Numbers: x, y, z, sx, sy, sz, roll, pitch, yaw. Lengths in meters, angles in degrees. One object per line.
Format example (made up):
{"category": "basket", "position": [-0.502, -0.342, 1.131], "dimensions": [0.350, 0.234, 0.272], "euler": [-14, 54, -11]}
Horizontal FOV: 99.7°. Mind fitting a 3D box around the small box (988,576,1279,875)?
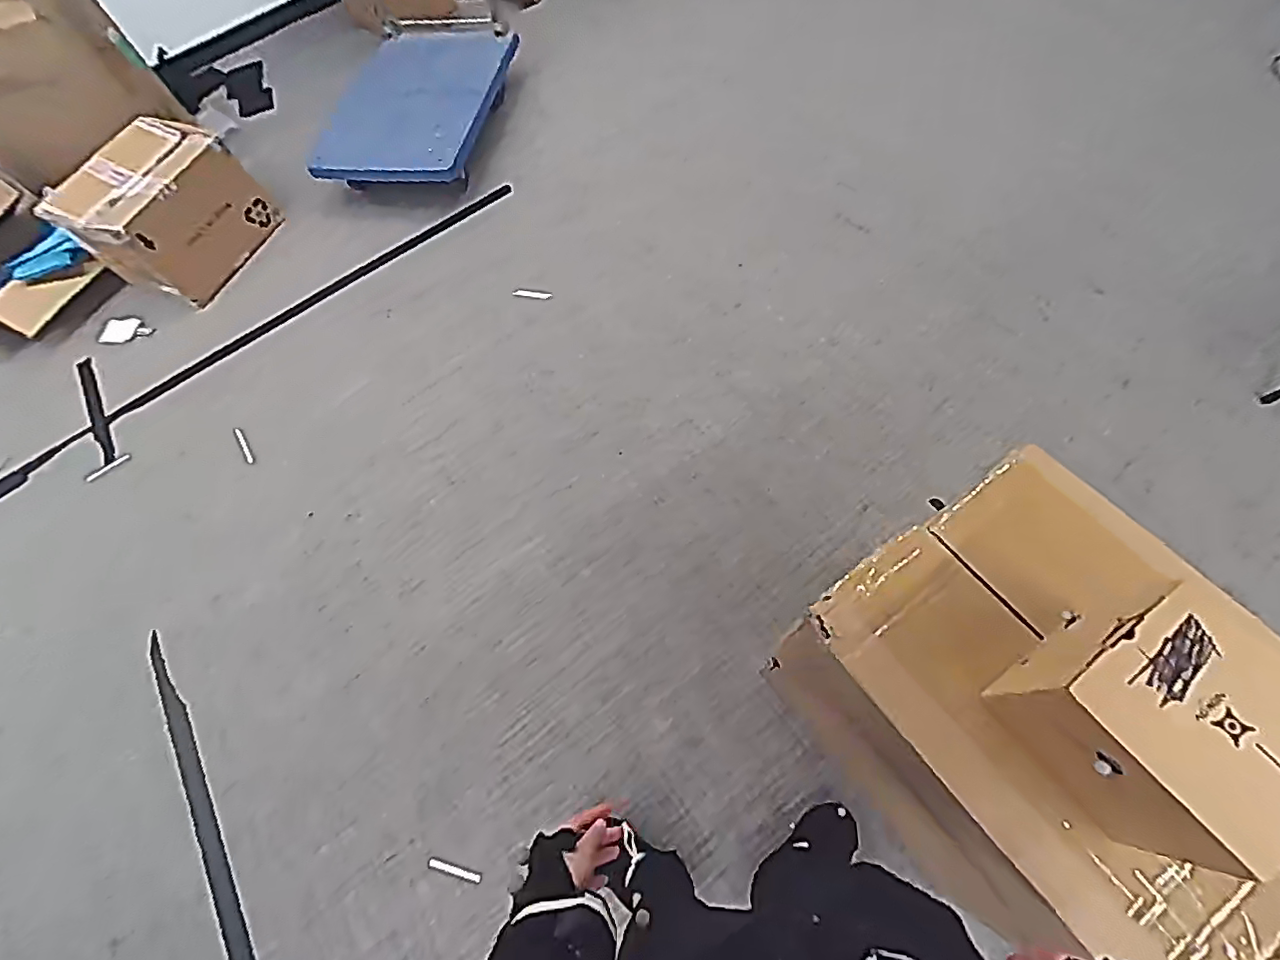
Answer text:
{"category": "small box", "position": [0.490, 0.225, 0.522], "dimensions": [0.168, 0.176, 0.179], "euler": [-35, 66, -8]}
